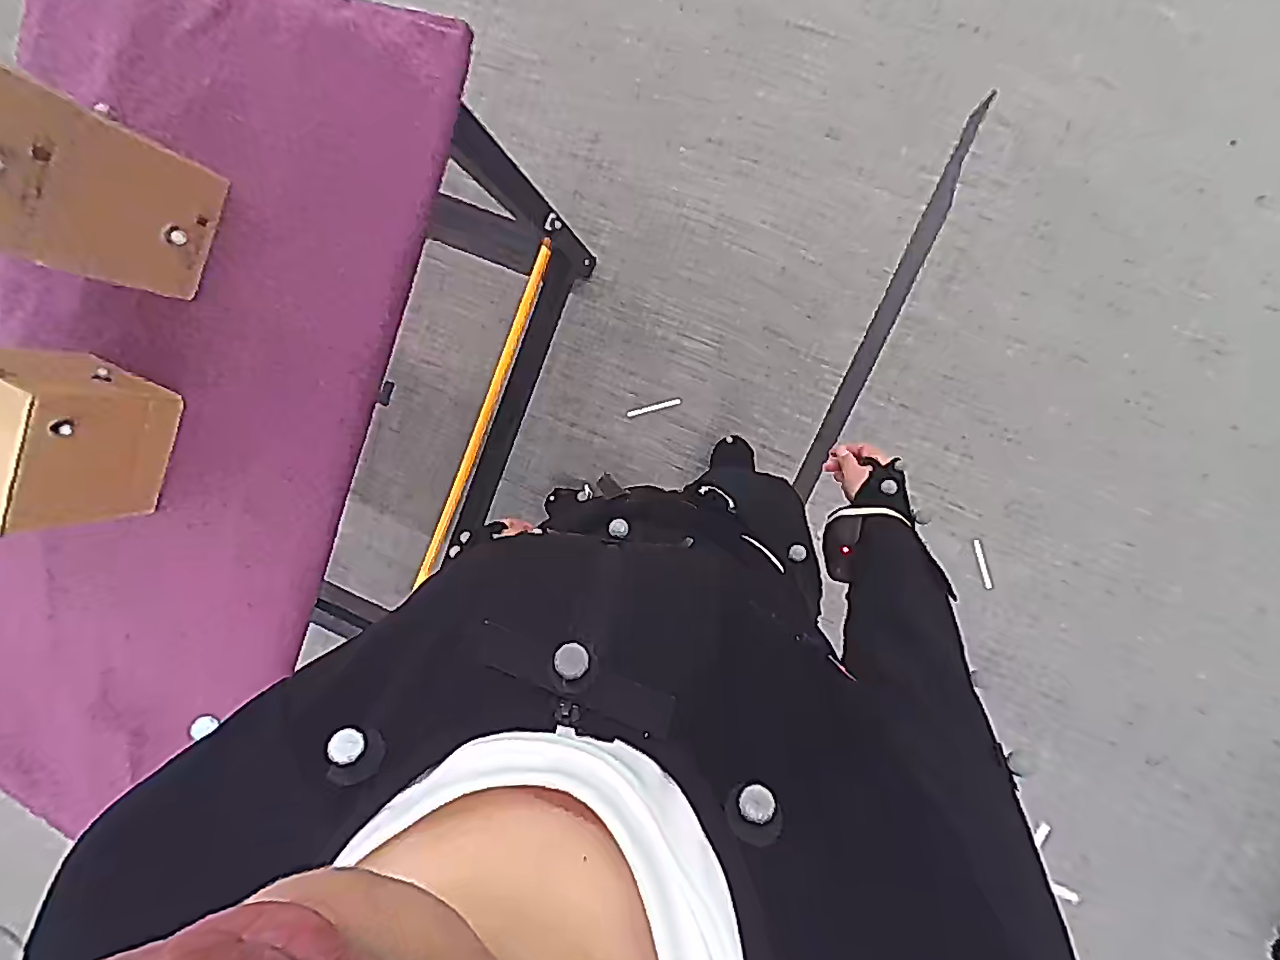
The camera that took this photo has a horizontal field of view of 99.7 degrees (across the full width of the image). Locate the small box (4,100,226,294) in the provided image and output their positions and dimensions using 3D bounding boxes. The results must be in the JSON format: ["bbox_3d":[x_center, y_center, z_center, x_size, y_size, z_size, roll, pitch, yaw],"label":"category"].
[{"bbox_3d":[-0.646,-0.339,0.629,0.179,0.176,0.168,27,99,5],"label":"small box"}]

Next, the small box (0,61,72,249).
[{"bbox_3d":[-0.670,-0.327,0.466,0.179,0.176,0.168,27,100,6],"label":"small box"}]

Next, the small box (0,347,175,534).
[{"bbox_3d":[-0.736,-0.053,0.671,0.168,0.176,0.179,23,98,7],"label":"small box"}]
